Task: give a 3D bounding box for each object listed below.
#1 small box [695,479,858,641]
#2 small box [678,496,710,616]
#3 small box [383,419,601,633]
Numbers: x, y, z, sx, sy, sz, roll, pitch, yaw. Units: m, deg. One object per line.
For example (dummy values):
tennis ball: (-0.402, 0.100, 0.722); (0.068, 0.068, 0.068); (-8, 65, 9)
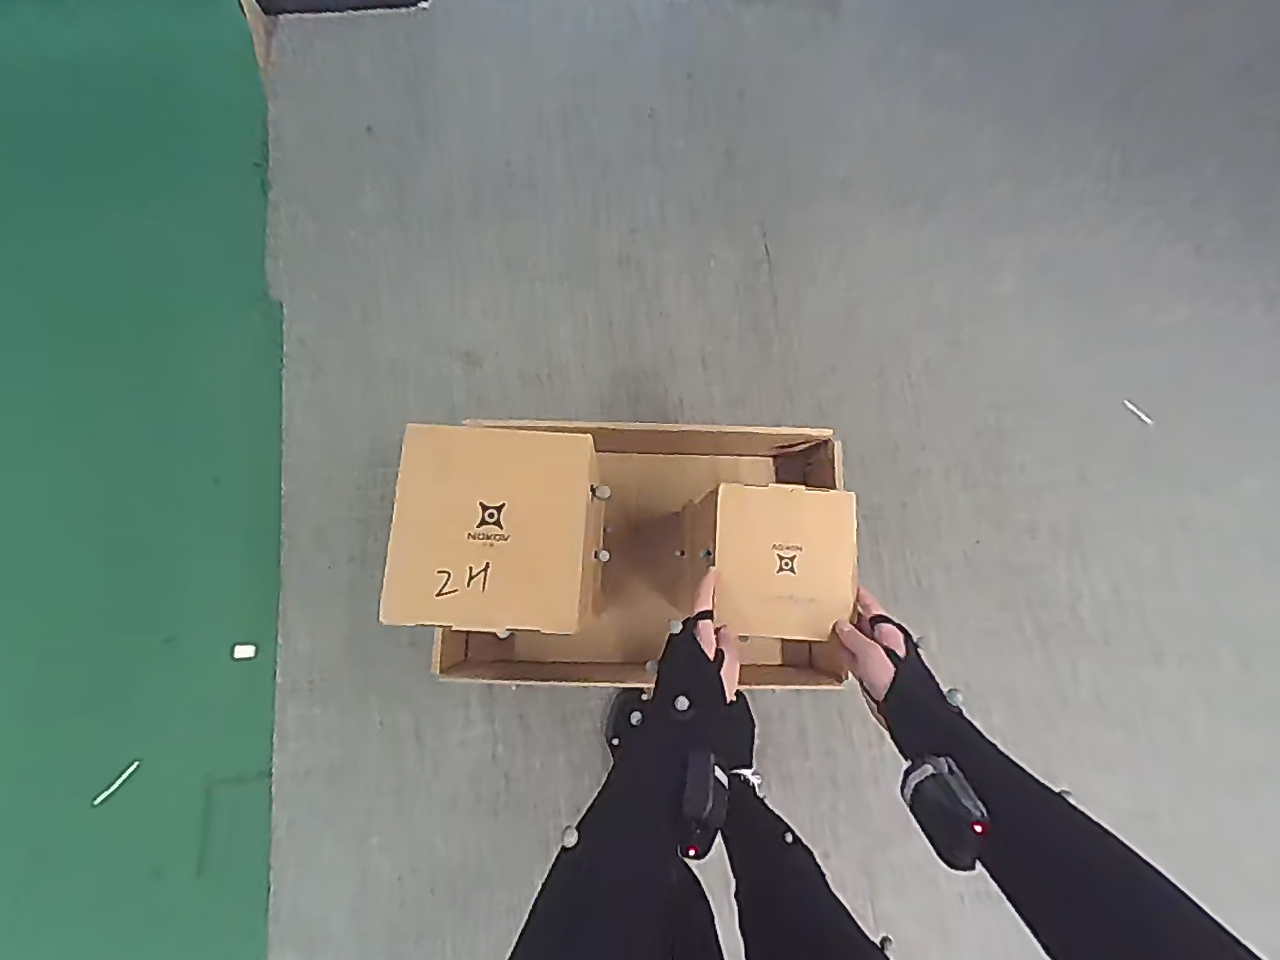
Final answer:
small box: (0.165, 0.105, 0.698); (0.168, 0.176, 0.179); (4, 79, -1)
small box: (0.153, 0.128, 0.871); (0.168, 0.176, 0.179); (3, 79, -2)
small box: (-0.129, 0.052, 0.544); (0.168, 0.176, 0.179); (4, 79, -1)
